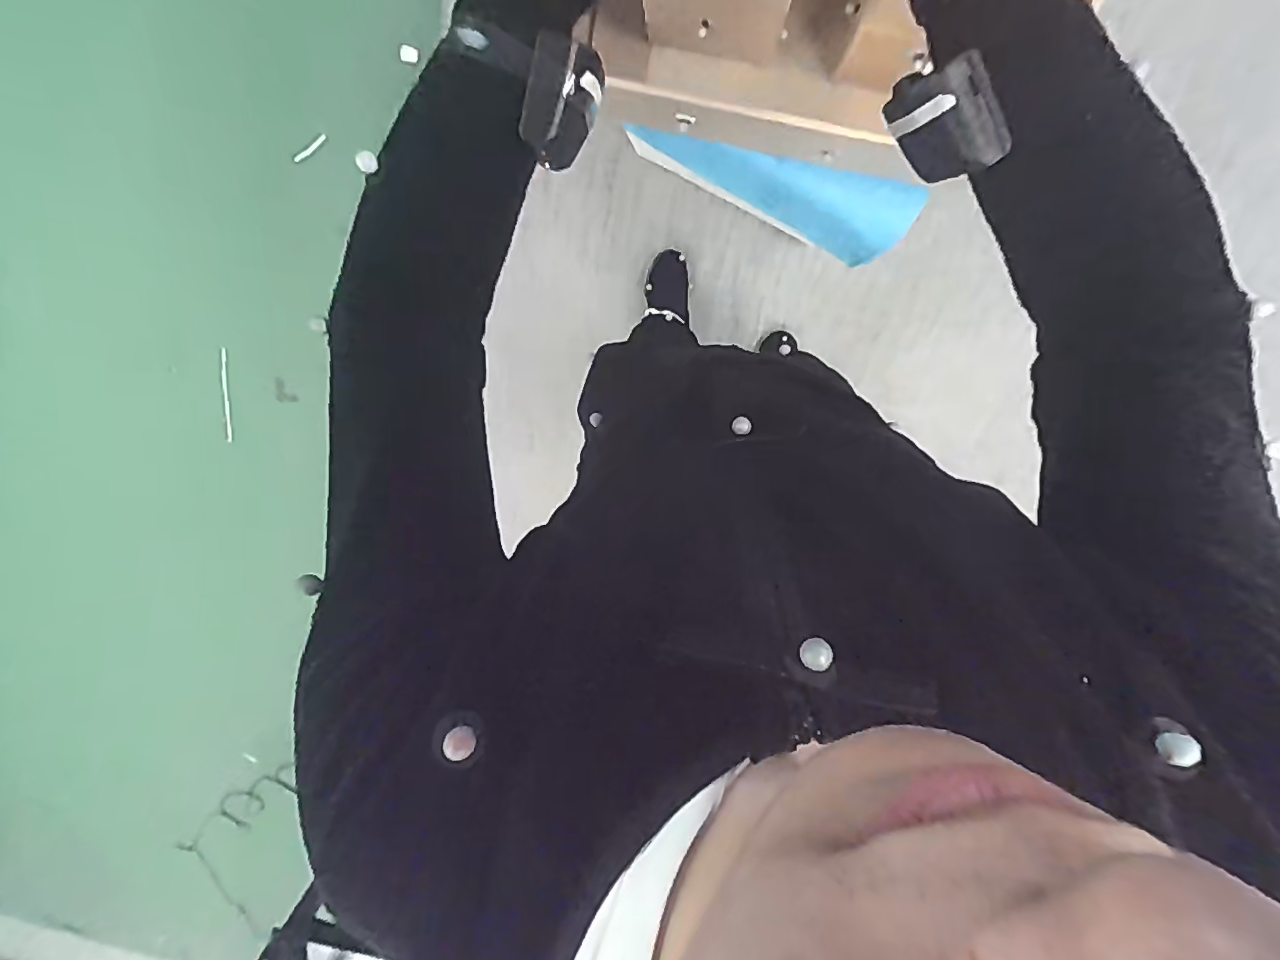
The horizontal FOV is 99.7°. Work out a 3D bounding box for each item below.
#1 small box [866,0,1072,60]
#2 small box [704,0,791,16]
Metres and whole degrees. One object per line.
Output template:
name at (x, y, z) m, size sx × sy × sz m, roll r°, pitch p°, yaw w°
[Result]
small box at (0.338, -0.535, 0.507) m, size 0.179 × 0.176 × 0.168 m, roll 15°, pitch 109°, yaw 2°
small box at (0.090, -0.590, 0.515) m, size 0.179 × 0.176 × 0.168 m, roll 13°, pitch 109°, yaw 1°
